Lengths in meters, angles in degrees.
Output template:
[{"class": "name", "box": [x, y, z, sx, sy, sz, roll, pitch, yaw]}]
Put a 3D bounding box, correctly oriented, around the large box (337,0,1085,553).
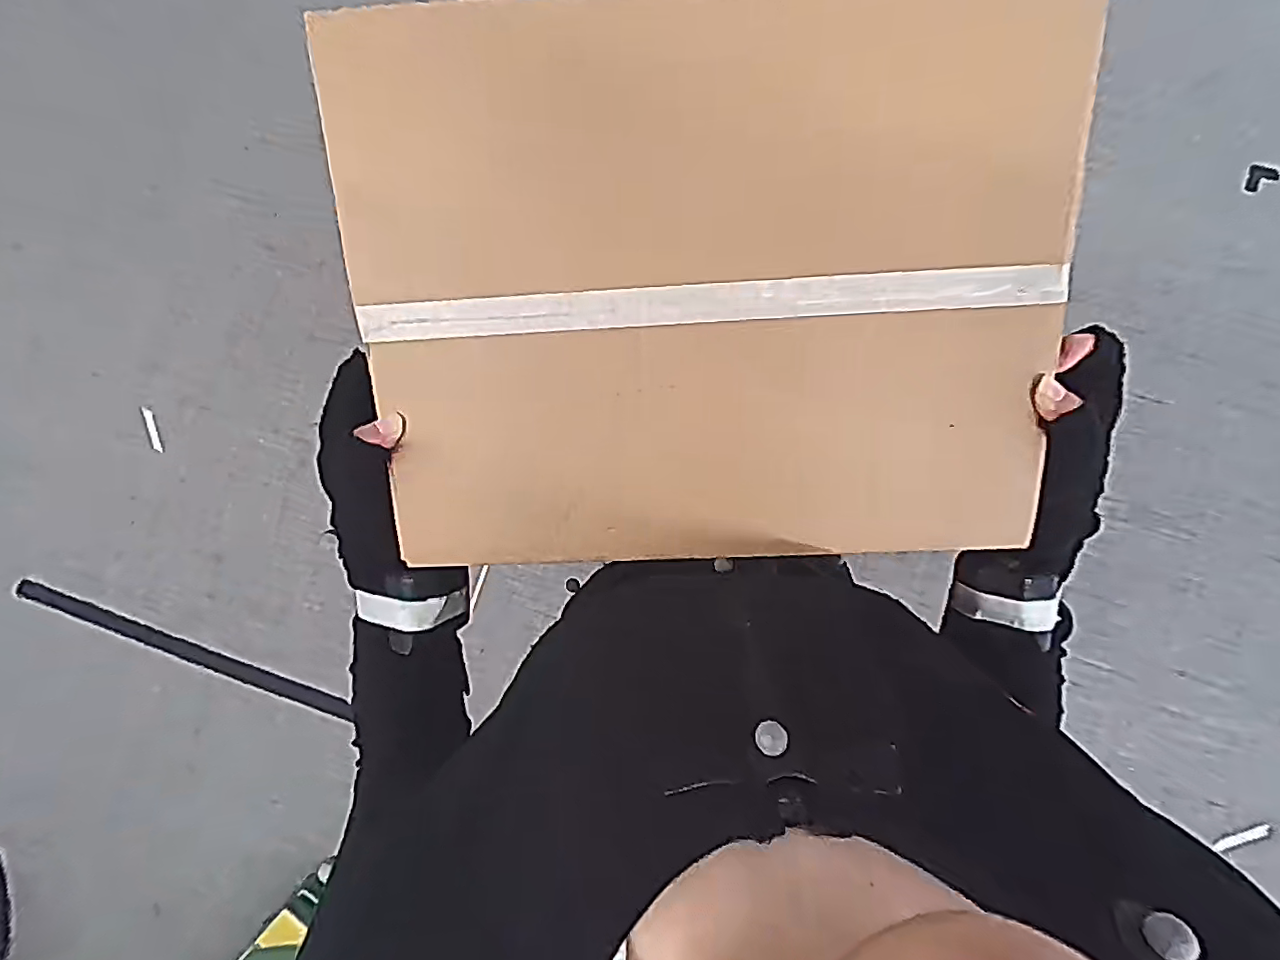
[{"class": "large box", "box": [0.042, -0.144, 0.465, 0.408, 0.320, 0.320, -2, 106, 2]}]
